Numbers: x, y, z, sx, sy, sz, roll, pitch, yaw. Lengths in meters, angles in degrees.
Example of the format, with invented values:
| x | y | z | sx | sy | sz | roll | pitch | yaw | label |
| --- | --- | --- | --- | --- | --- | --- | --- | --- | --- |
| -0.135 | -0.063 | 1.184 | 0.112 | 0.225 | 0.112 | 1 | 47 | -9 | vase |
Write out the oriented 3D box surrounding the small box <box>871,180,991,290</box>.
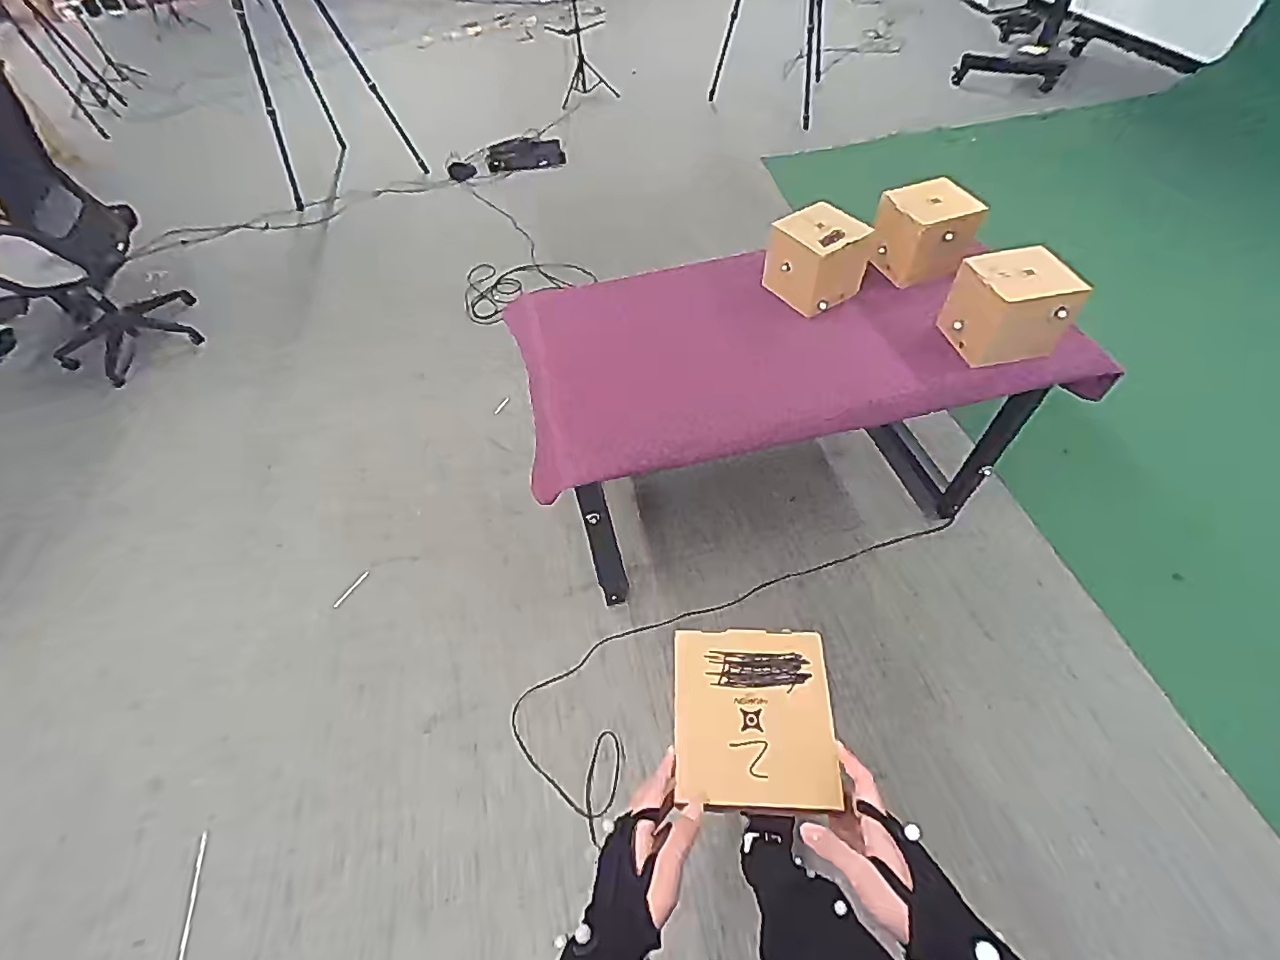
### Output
| x | y | z | sx | sy | sz | roll | pitch | yaw | label |
| --- | --- | --- | --- | --- | --- | --- | --- | --- | --- |
| 0.703 | -0.600 | 1.331 | 0.179 | 0.176 | 0.168 | -18 | 55 | -6 | small box |

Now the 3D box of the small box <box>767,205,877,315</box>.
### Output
| x | y | z | sx | sy | sz | roll | pitch | yaw | label |
| --- | --- | --- | --- | --- | --- | --- | --- | --- | --- |
| 0.426 | -0.520 | 1.298 | 0.168 | 0.176 | 0.179 | -28 | 56 | -15 | small box |

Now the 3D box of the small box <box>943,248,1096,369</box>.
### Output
| x | y | z | sx | sy | sz | roll | pitch | yaw | label |
| --- | --- | --- | --- | --- | --- | --- | --- | --- | --- |
| 0.784 | -0.357 | 1.142 | 0.179 | 0.176 | 0.168 | -10 | 52 | -1 | small box |
